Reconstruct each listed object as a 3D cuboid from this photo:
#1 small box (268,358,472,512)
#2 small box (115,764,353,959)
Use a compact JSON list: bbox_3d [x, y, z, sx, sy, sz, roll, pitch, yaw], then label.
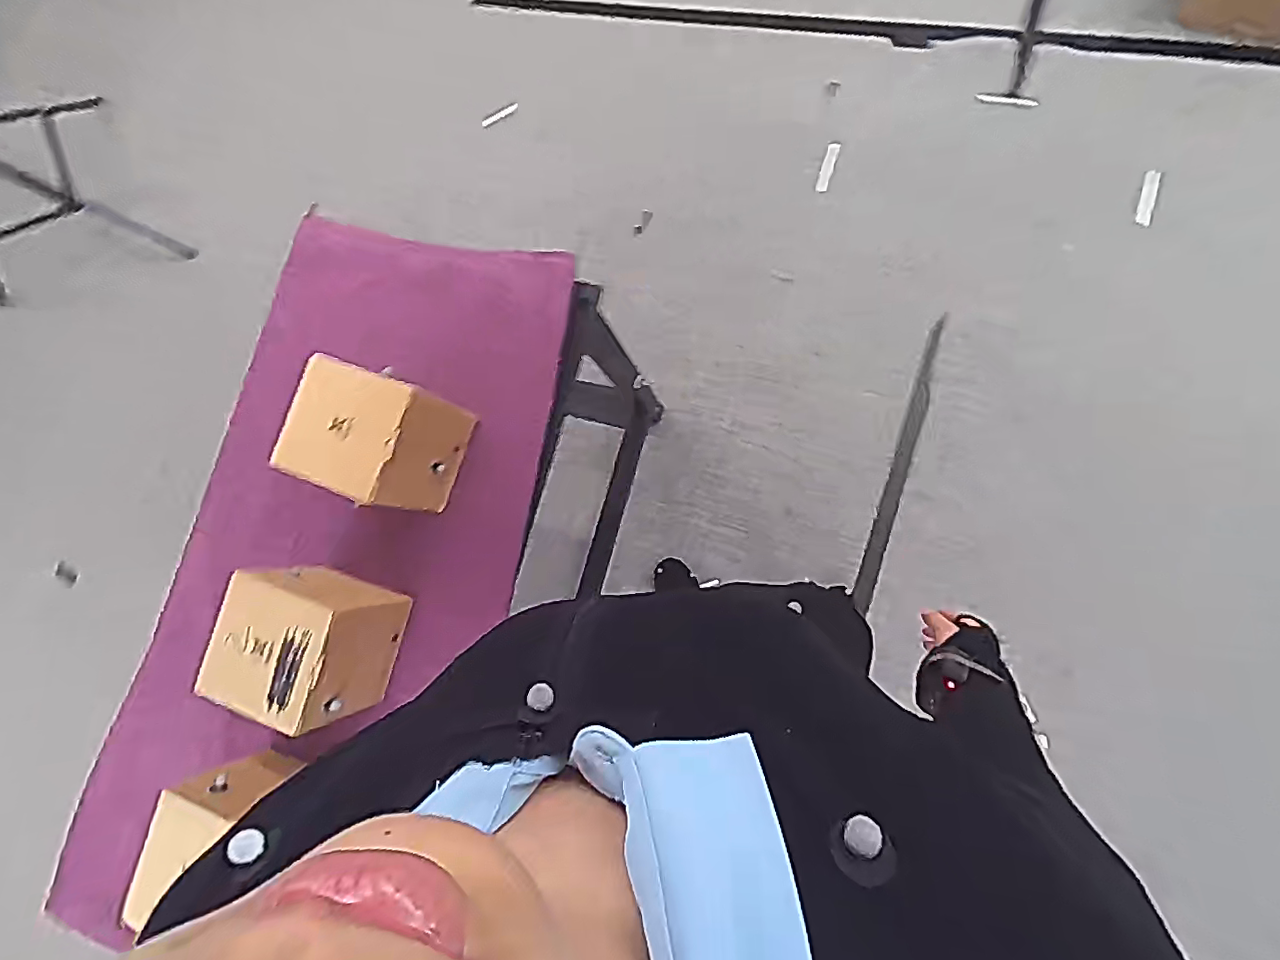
[{"bbox_3d":[-0.386,-0.056,0.798,0.179,0.176,0.168,18,87,14],"label":"small box"},{"bbox_3d":[-0.547,0.523,0.750,0.179,0.176,0.168,13,84,12],"label":"small box"}]
